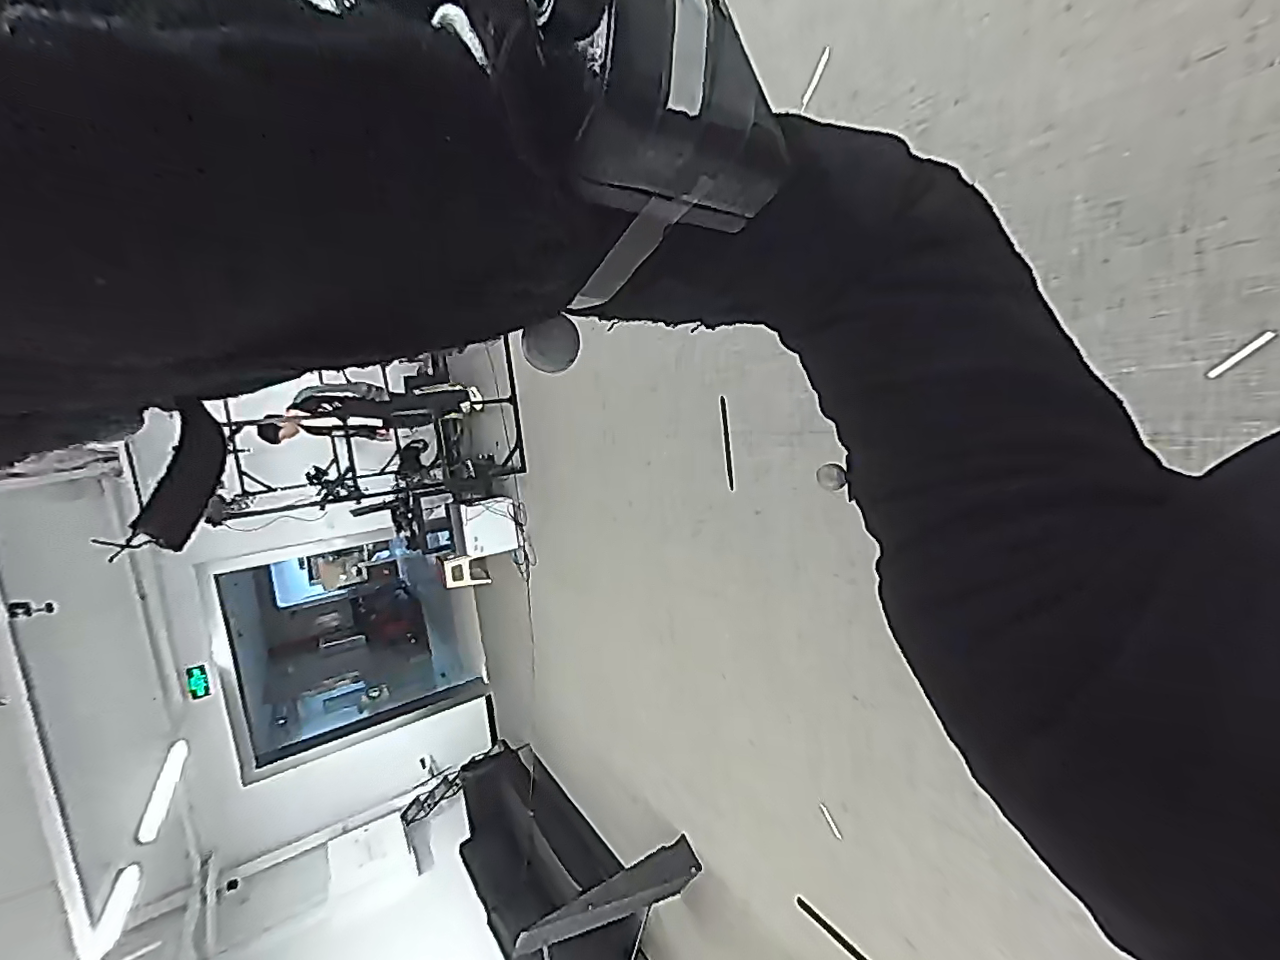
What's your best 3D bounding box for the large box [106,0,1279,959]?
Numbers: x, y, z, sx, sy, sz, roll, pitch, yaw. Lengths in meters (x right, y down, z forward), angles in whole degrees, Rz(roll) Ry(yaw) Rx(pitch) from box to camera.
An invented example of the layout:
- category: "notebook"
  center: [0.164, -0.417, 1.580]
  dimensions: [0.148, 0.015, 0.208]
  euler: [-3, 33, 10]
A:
- category: "large box"
  center: [0.113, 0.050, 0.162]
  dimensions: [0.408, 0.320, 0.320]
  euler: [17, -112, 52]
